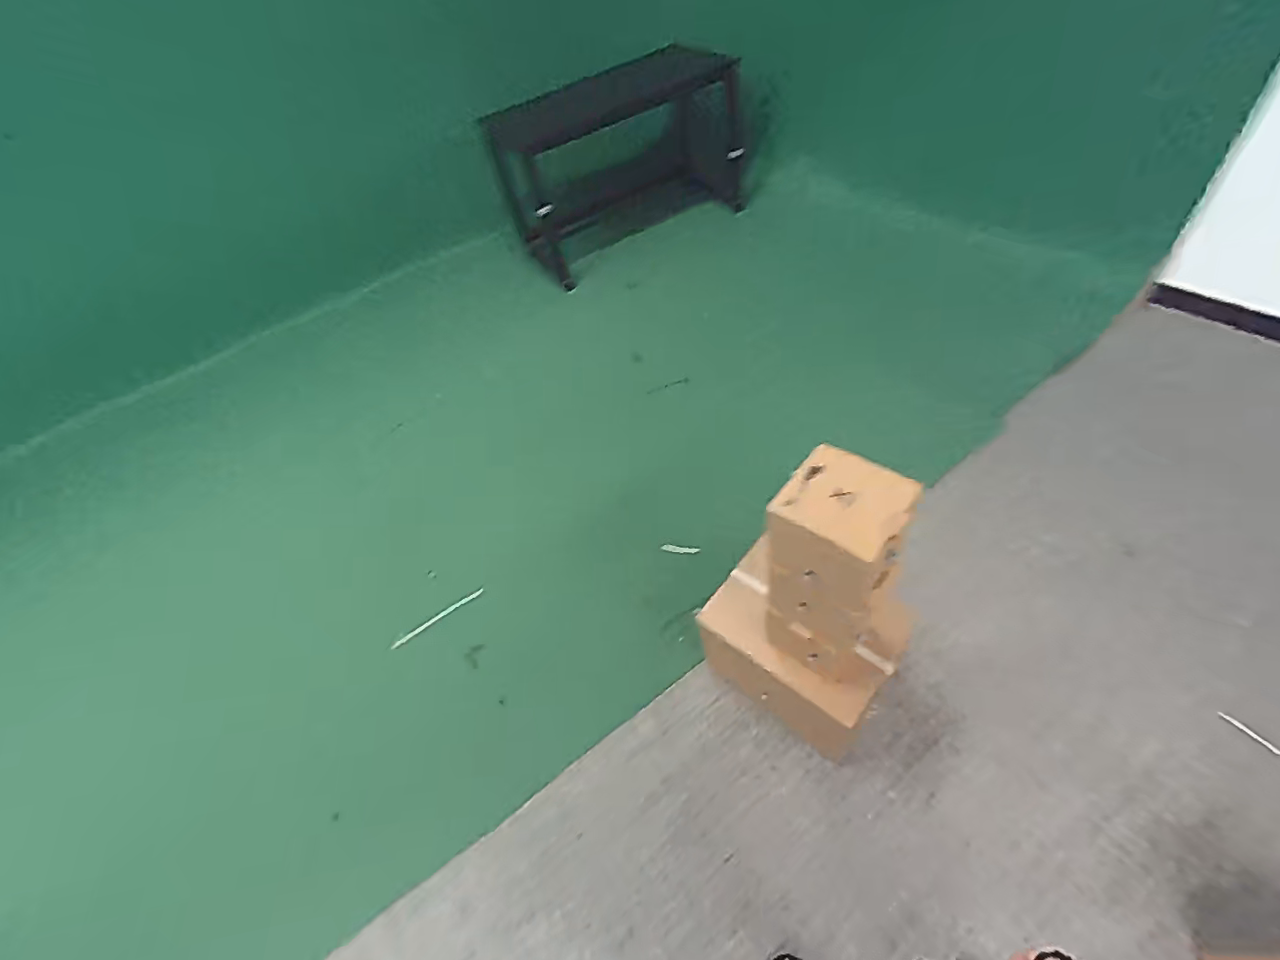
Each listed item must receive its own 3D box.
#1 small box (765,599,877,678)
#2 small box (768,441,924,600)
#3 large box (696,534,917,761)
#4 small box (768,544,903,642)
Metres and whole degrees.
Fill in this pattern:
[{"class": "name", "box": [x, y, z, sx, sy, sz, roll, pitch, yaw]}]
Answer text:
[{"class": "small box", "box": [0.384, 0.284, 1.144, 0.168, 0.176, 0.179, 32, 63, 32]}, {"class": "small box", "box": [0.331, 0.073, 0.897, 0.179, 0.176, 0.168, 32, 64, 31]}, {"class": "large box", "box": [0.406, 0.411, 1.355, 0.408, 0.320, 0.320, 30, 61, 33]}, {"class": "small box", "box": [0.360, 0.180, 1.020, 0.179, 0.176, 0.168, 30, 63, 32]}]
